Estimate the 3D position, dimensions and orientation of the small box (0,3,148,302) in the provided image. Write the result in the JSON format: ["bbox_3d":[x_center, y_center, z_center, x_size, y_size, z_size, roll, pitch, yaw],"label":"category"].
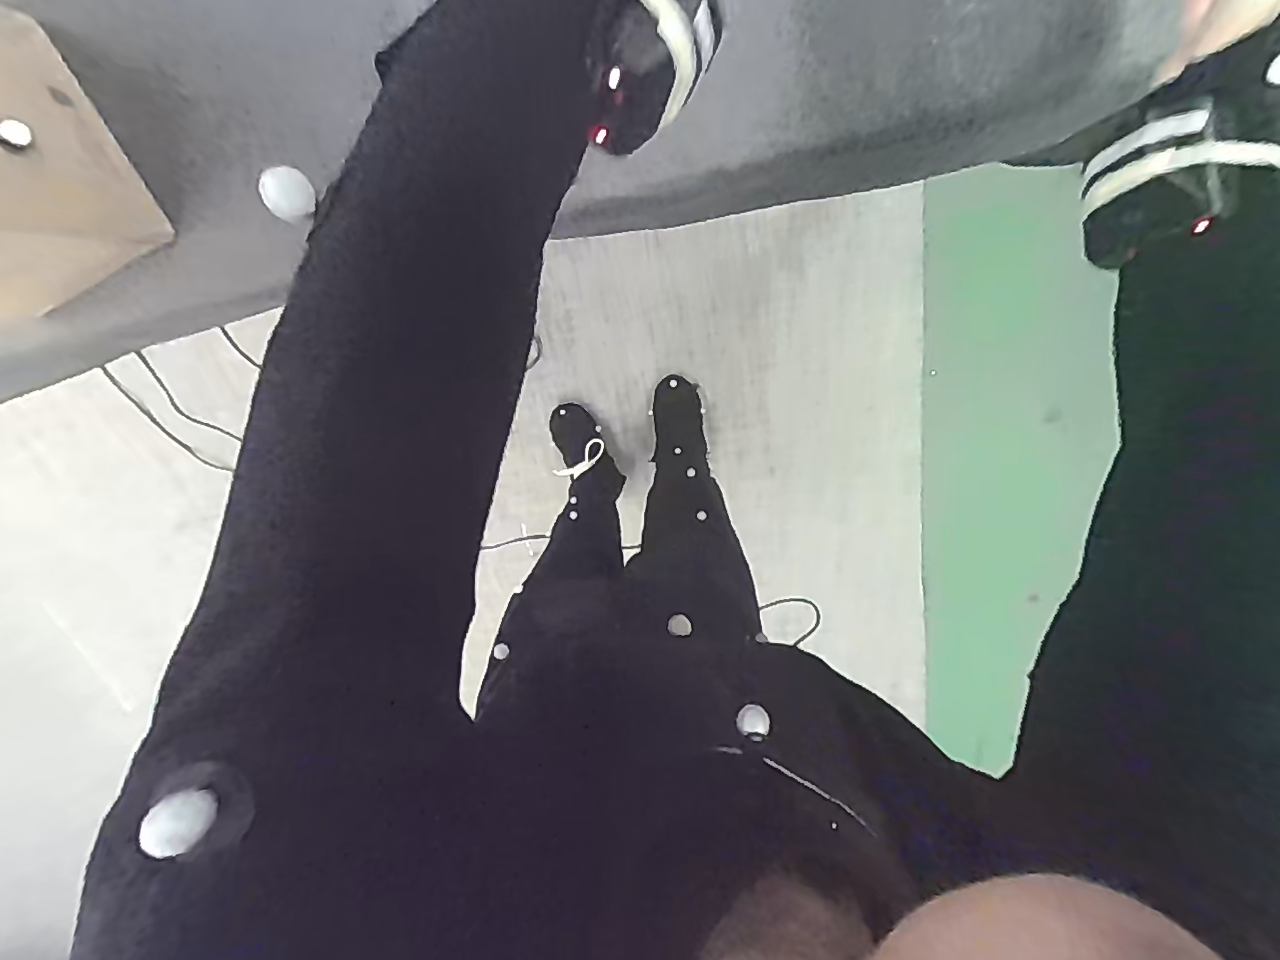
[{"bbox_3d":[-0.510,-0.229,0.376,0.179,0.176,0.168,-19,110,12],"label":"small box"}]
